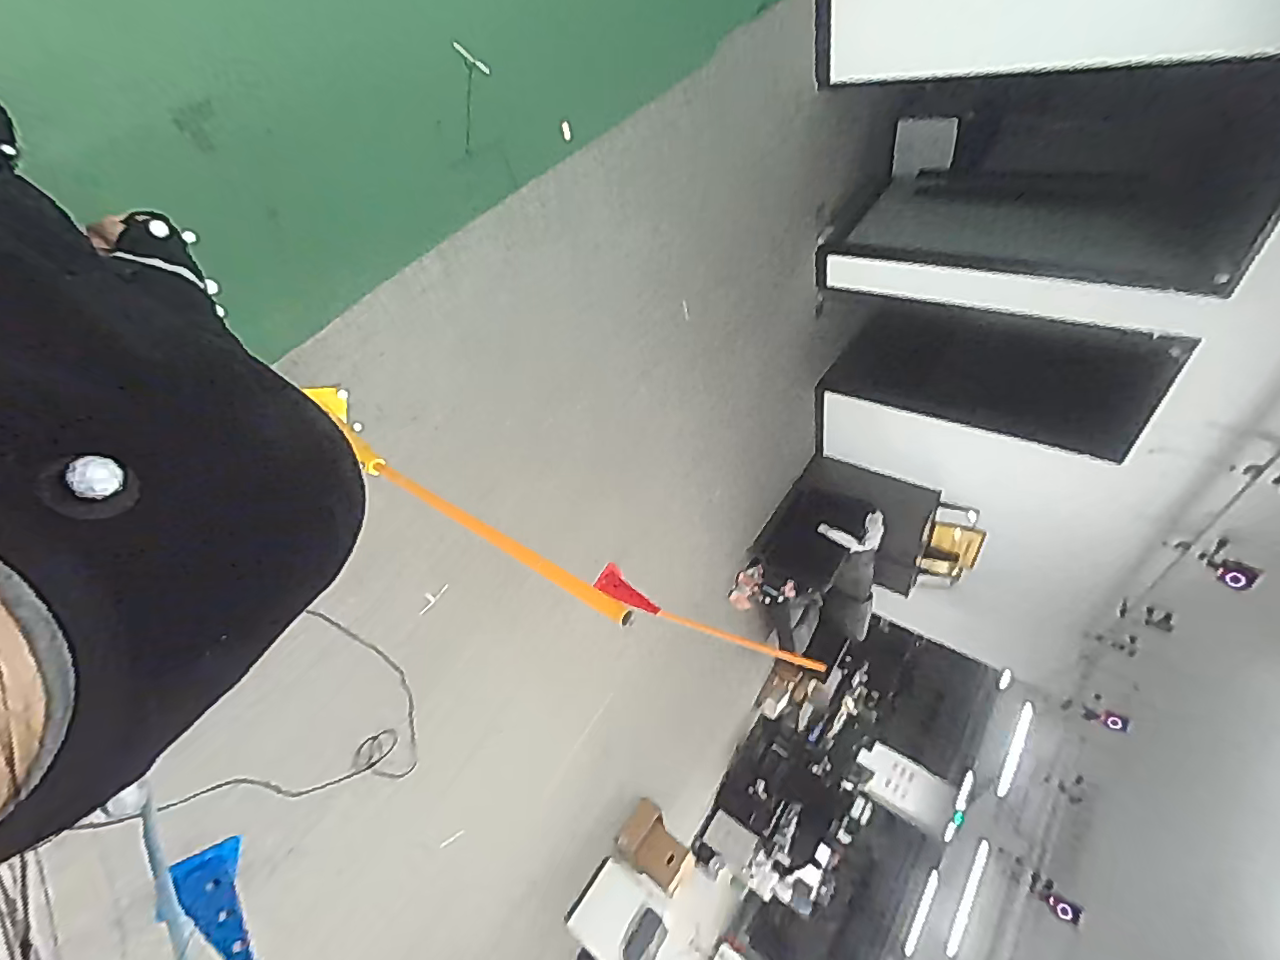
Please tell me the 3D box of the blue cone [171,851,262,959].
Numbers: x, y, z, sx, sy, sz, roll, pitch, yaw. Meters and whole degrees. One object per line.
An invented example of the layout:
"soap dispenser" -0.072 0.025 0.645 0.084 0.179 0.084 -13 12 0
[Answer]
"blue cone" -1.167 1.294 1.553 0.192 0.380 0.193 -7 116 -56
